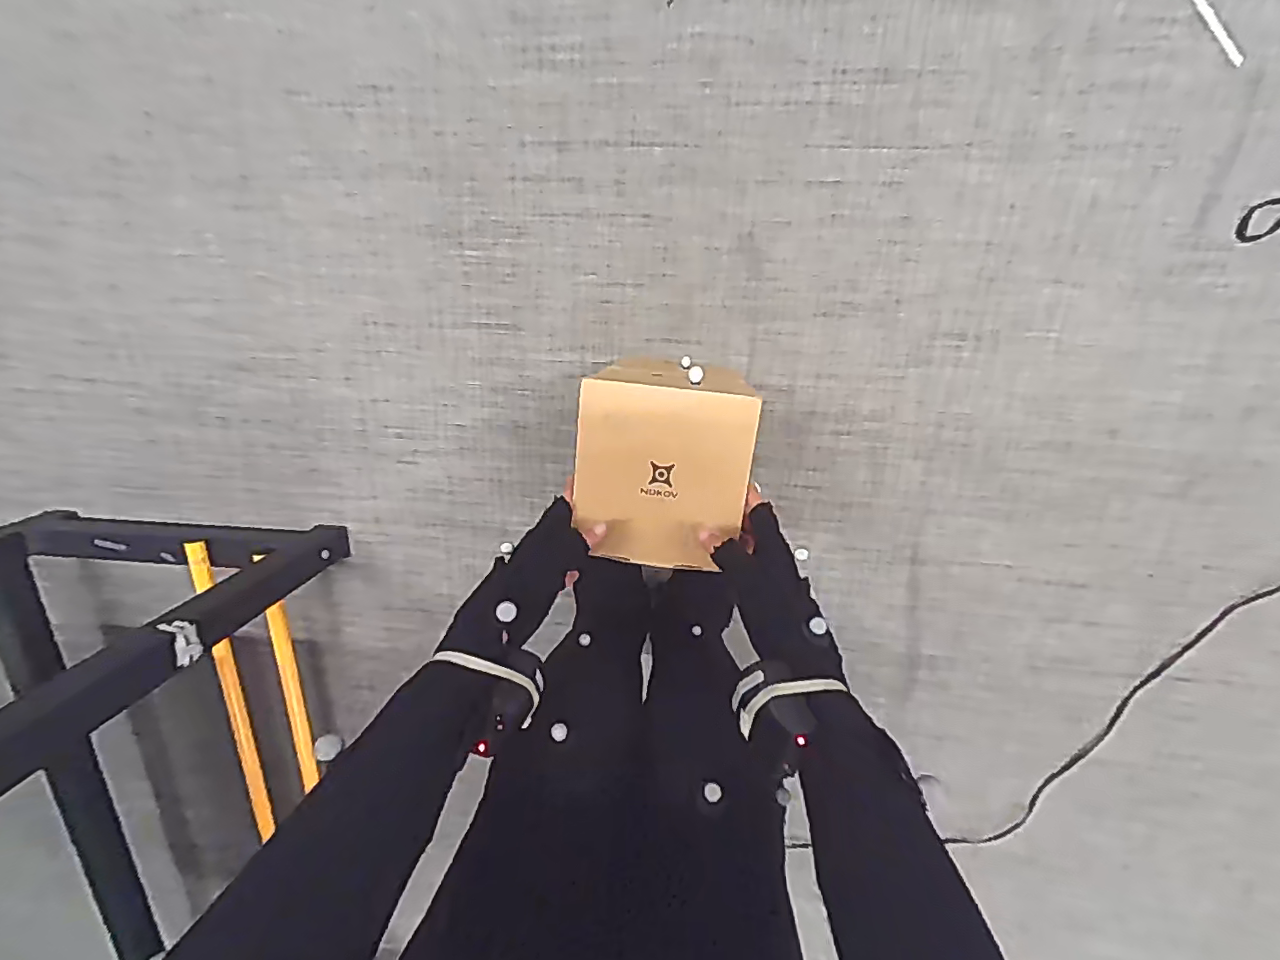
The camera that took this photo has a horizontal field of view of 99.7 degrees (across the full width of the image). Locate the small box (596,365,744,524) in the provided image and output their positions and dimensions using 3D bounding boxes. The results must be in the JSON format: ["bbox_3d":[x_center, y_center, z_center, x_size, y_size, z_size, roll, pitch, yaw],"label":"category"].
[{"bbox_3d":[0.042,-0.059,0.751,0.168,0.176,0.179,9,108,4],"label":"small box"}]
